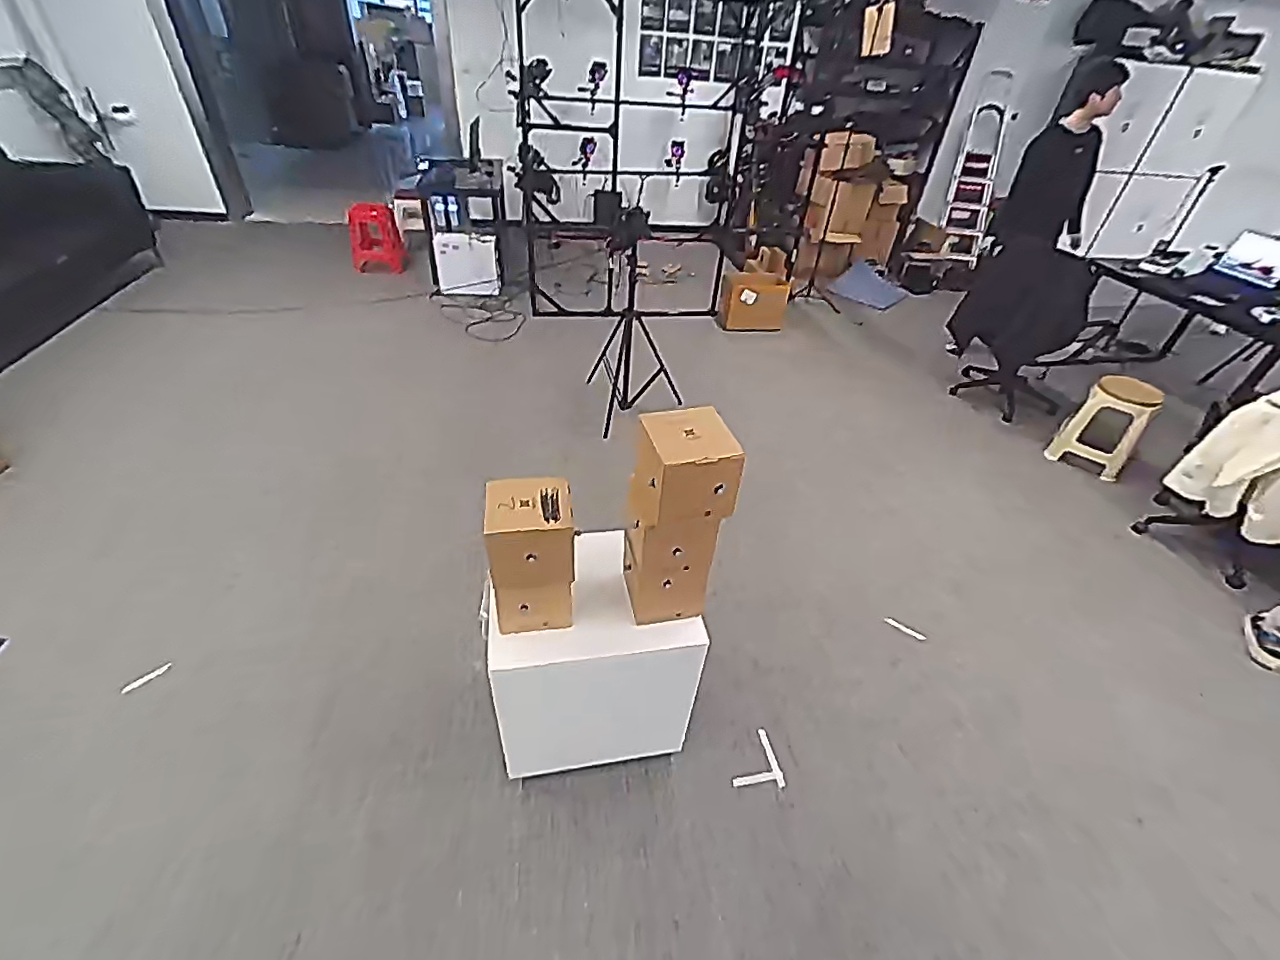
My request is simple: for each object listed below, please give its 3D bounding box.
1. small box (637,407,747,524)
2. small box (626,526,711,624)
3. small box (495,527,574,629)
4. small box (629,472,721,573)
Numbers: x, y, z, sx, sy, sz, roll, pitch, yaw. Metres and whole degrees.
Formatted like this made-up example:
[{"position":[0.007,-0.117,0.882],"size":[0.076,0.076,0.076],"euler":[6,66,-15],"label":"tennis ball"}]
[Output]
[{"position":[0.097,-0.026,1.101],"size":[0.168,0.176,0.179],"euler":[-8,41,-15],"label":"small box"},{"position":[0.061,0.221,1.315],"size":[0.168,0.176,0.179],"euler":[-6,40,-11],"label":"small box"},{"position":[-0.244,0.235,1.270],"size":[0.168,0.176,0.179],"euler":[-3,39,-10],"label":"small box"},{"position":[0.071,0.093,1.210],"size":[0.168,0.176,0.179],"euler":[-5,40,-11],"label":"small box"}]
